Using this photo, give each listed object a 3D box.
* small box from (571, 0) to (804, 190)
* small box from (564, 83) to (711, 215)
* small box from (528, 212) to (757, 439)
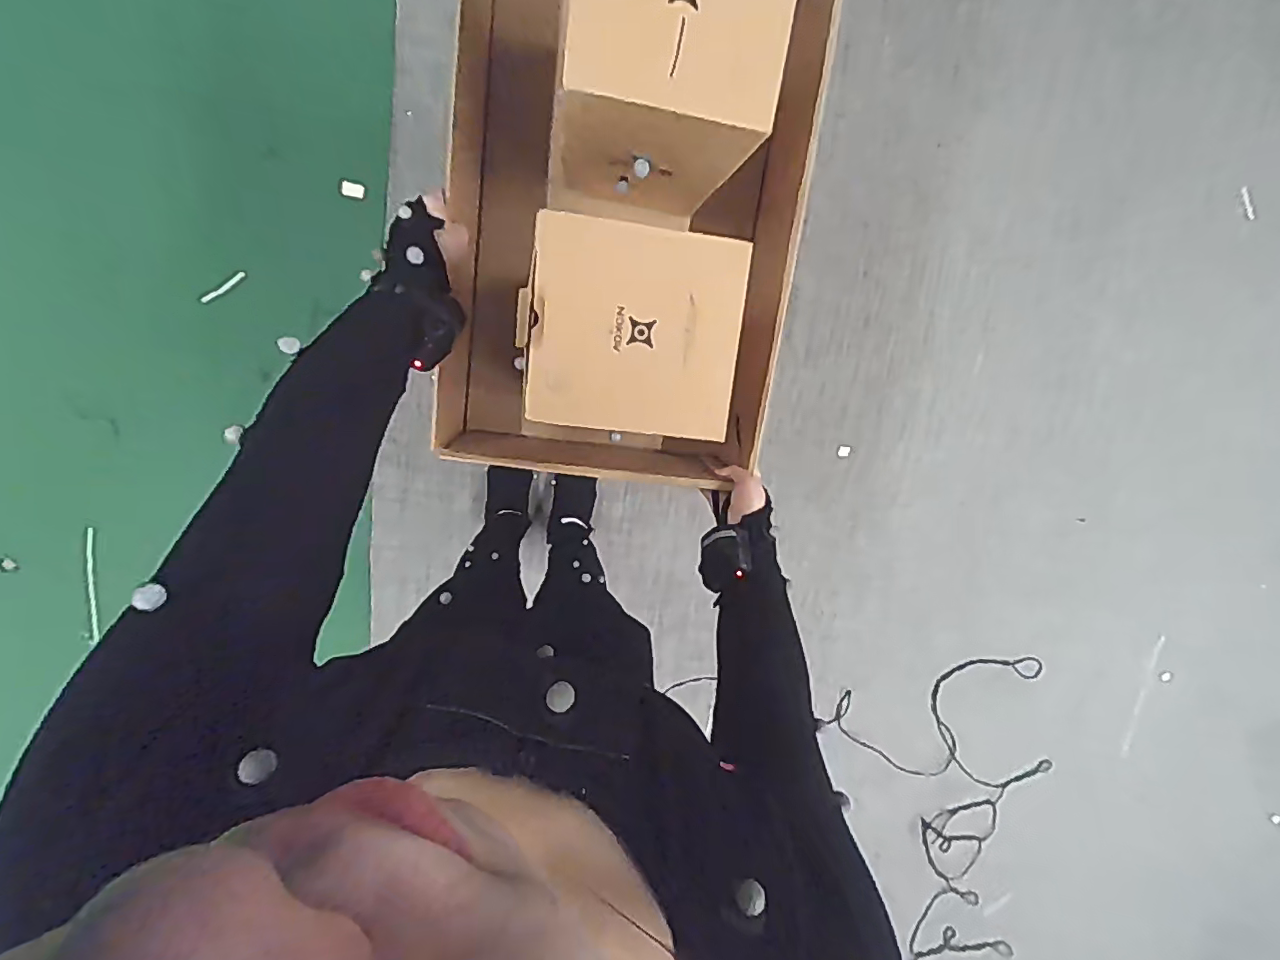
[{"bbox_3d":[0.031,-0.380,0.468,0.168,0.176,0.179,7,104,-9],"label":"small box"},{"bbox_3d":[0.012,-0.424,0.626,0.179,0.176,0.168,8,104,-8],"label":"small box"},{"bbox_3d":[-0.008,-0.138,0.522,0.179,0.176,0.168,5,102,-9],"label":"small box"}]
